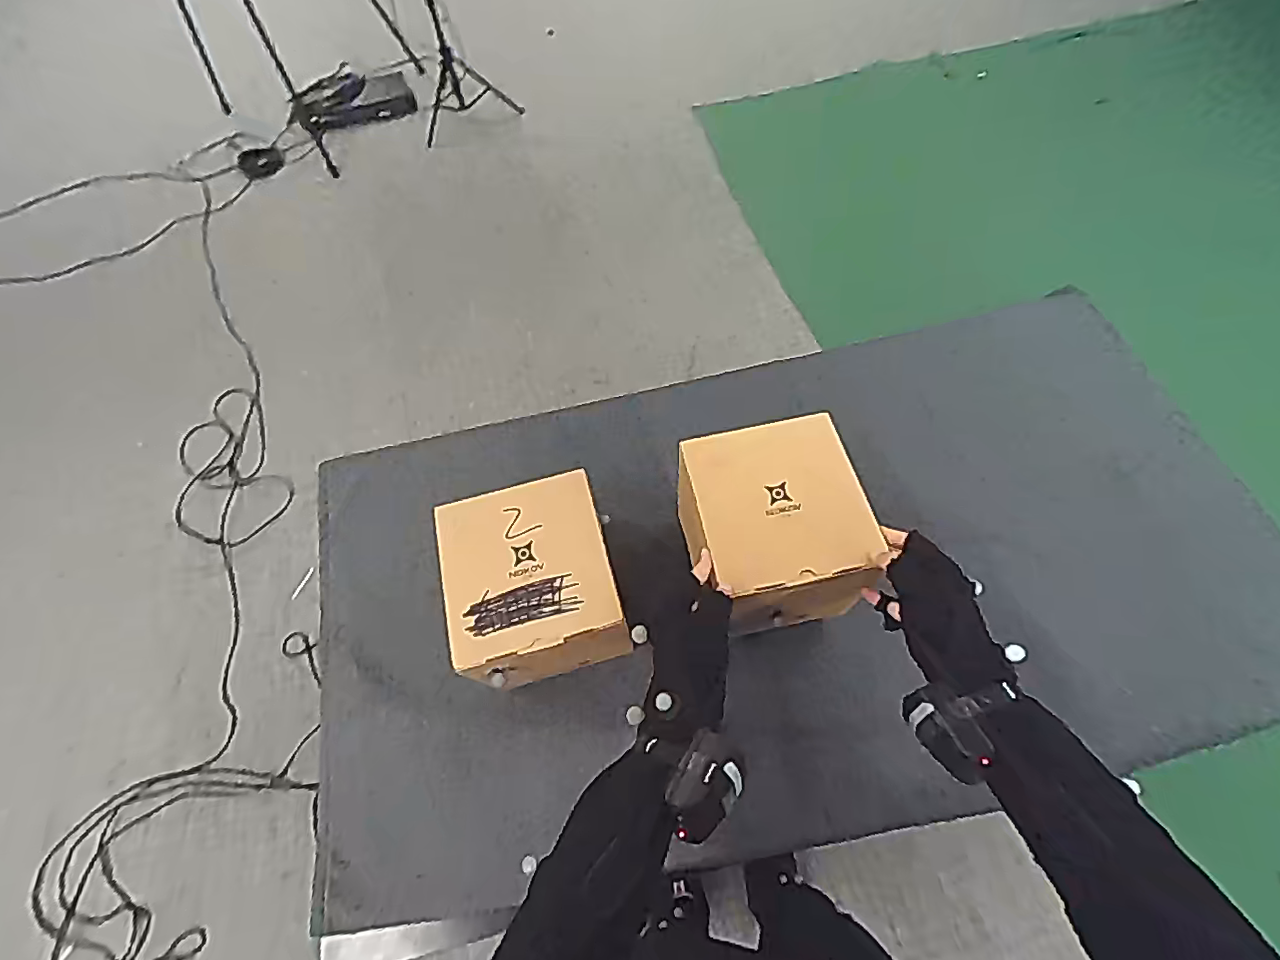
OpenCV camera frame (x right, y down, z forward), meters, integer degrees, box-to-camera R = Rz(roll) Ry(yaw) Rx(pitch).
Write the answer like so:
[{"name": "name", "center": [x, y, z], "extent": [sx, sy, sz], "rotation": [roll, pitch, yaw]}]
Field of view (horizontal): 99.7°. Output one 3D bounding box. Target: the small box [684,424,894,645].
[{"name": "small box", "center": [0.146, 0.067, 0.609], "extent": [0.168, 0.176, 0.179], "rotation": [-12, 61, -2]}]
